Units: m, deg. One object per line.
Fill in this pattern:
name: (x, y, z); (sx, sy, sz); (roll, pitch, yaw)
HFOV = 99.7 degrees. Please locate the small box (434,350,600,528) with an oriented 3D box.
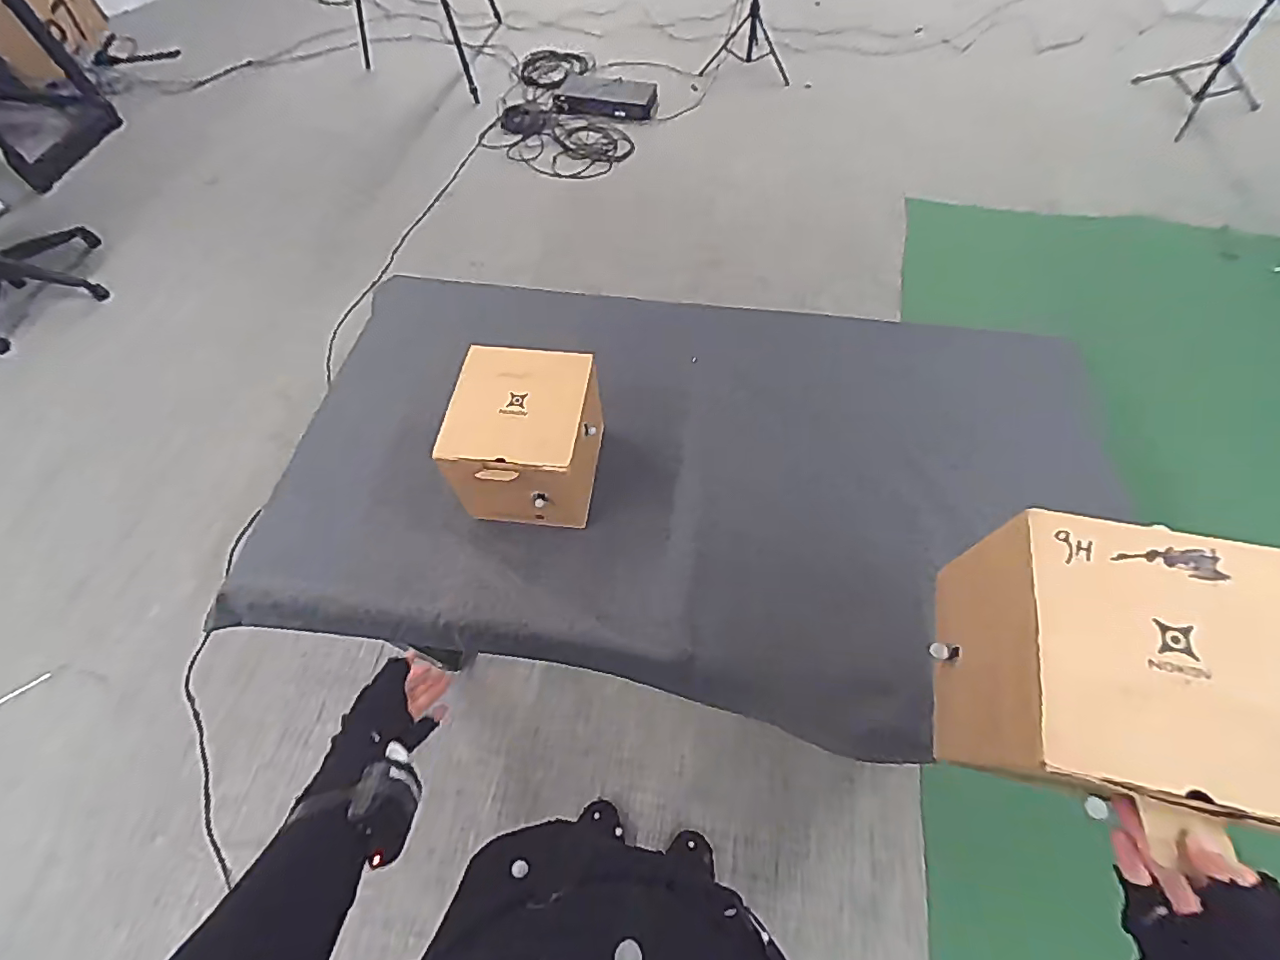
small box: (-0.149, -0.049, 0.730); (0.168, 0.176, 0.179); (5, 60, 3)
